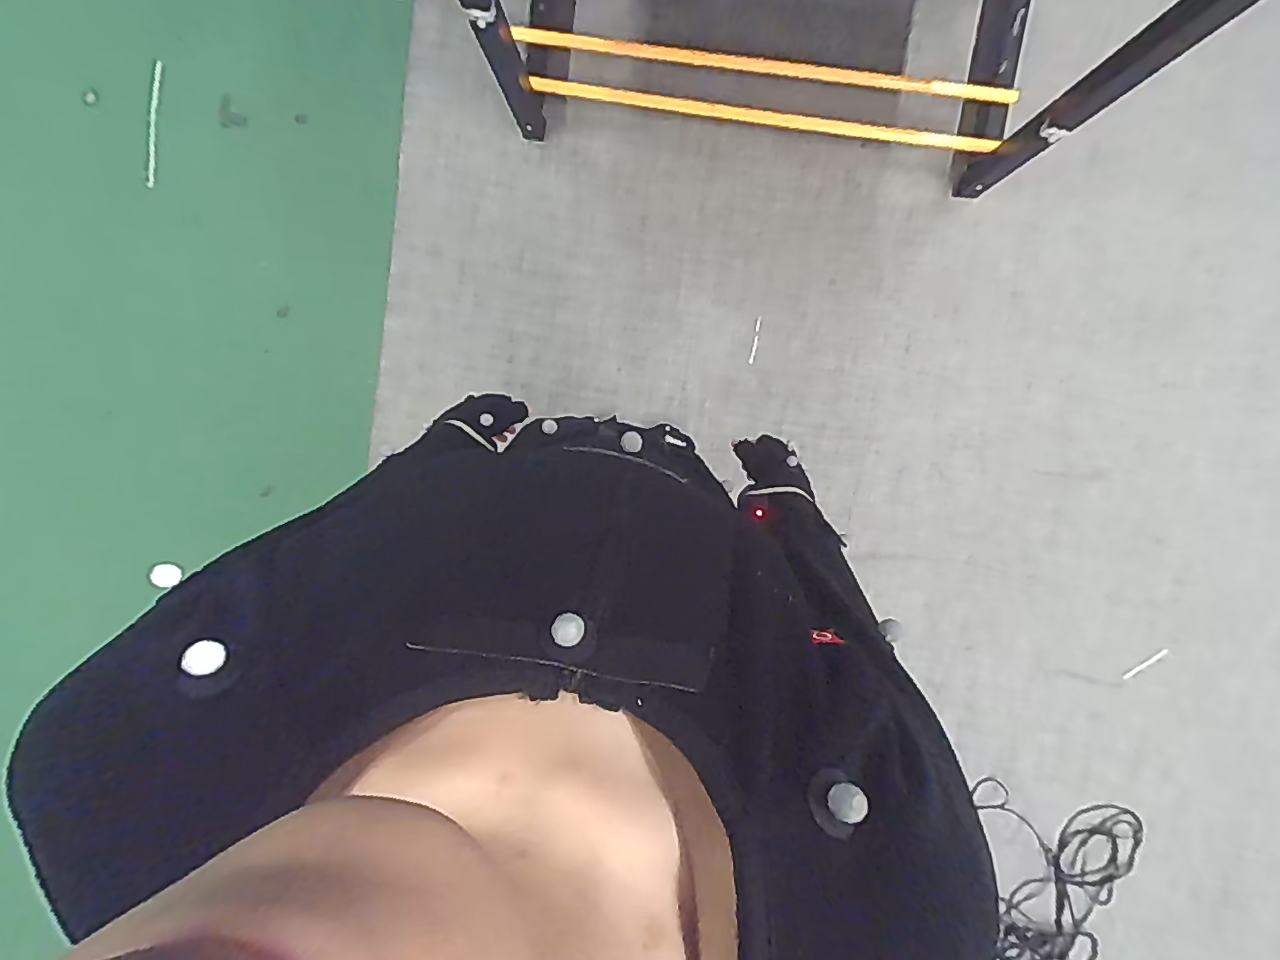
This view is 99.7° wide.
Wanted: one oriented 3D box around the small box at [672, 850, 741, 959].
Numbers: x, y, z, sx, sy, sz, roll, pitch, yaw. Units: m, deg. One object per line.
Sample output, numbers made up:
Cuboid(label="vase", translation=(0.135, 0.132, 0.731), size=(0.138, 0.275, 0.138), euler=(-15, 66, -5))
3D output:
Cuboid(label="small box", translation=(0.181, 1.195, 1.523), size=(0.168, 0.176, 0.179), euler=(6, 95, 0))
